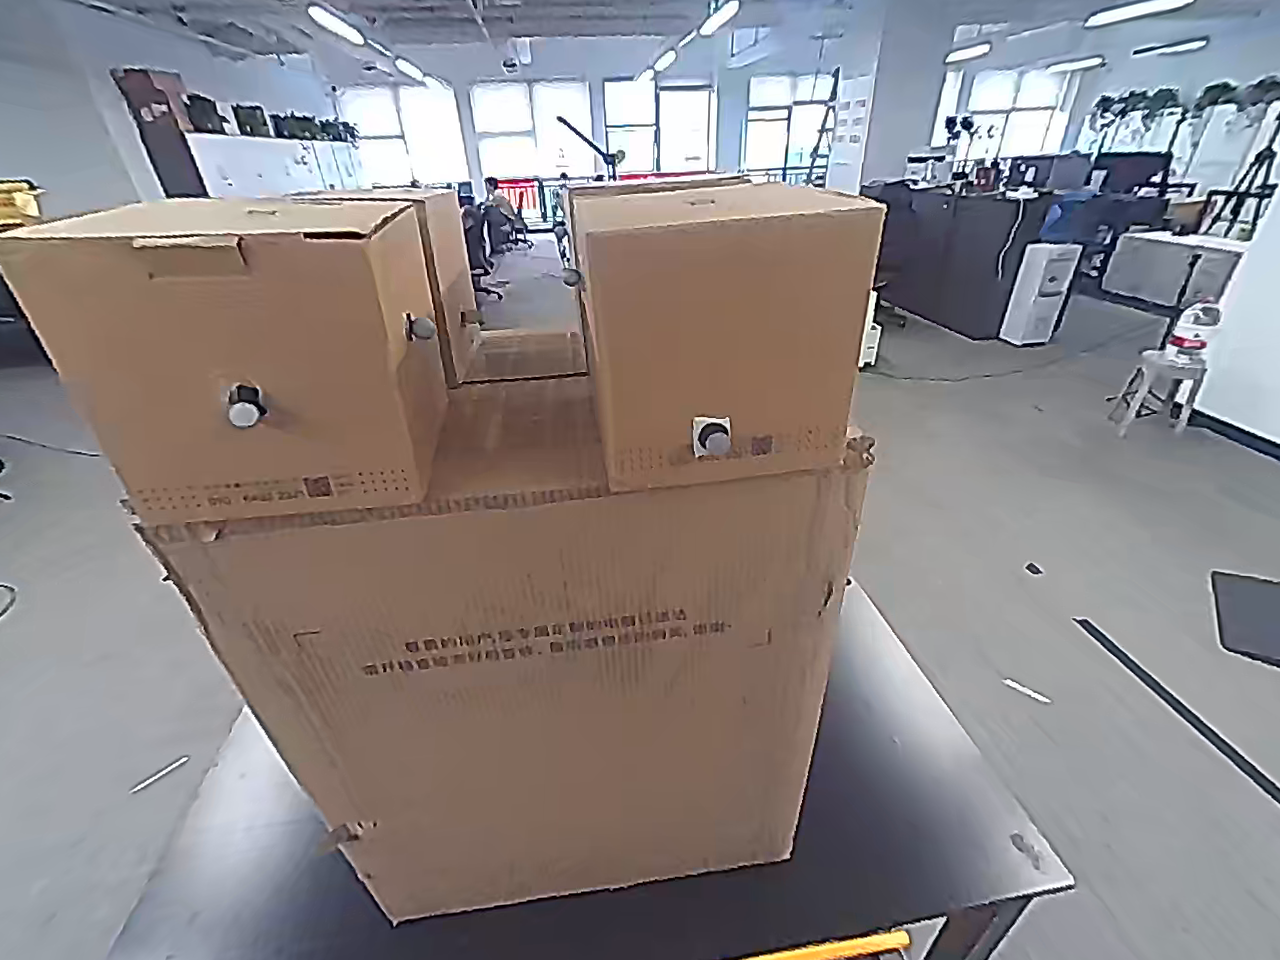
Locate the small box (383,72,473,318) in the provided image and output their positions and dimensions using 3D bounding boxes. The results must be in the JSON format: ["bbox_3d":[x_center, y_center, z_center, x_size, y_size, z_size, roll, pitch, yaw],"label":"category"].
[{"bbox_3d":[-0.257,-0.234,0.466,0.179,0.176,0.168,-4,31,-6],"label":"small box"}]

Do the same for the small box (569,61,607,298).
[{"bbox_3d":[0.025,-0.270,0.503,0.168,0.176,0.179,-8,29,-6],"label":"small box"}]

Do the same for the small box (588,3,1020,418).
[{"bbox_3d":[0.063,-0.153,0.320,0.168,0.176,0.179,-9,34,-5],"label":"small box"}]

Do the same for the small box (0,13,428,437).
[{"bbox_3d":[-0.220,-0.131,0.293,0.168,0.176,0.179,-5,34,-12],"label":"small box"}]
